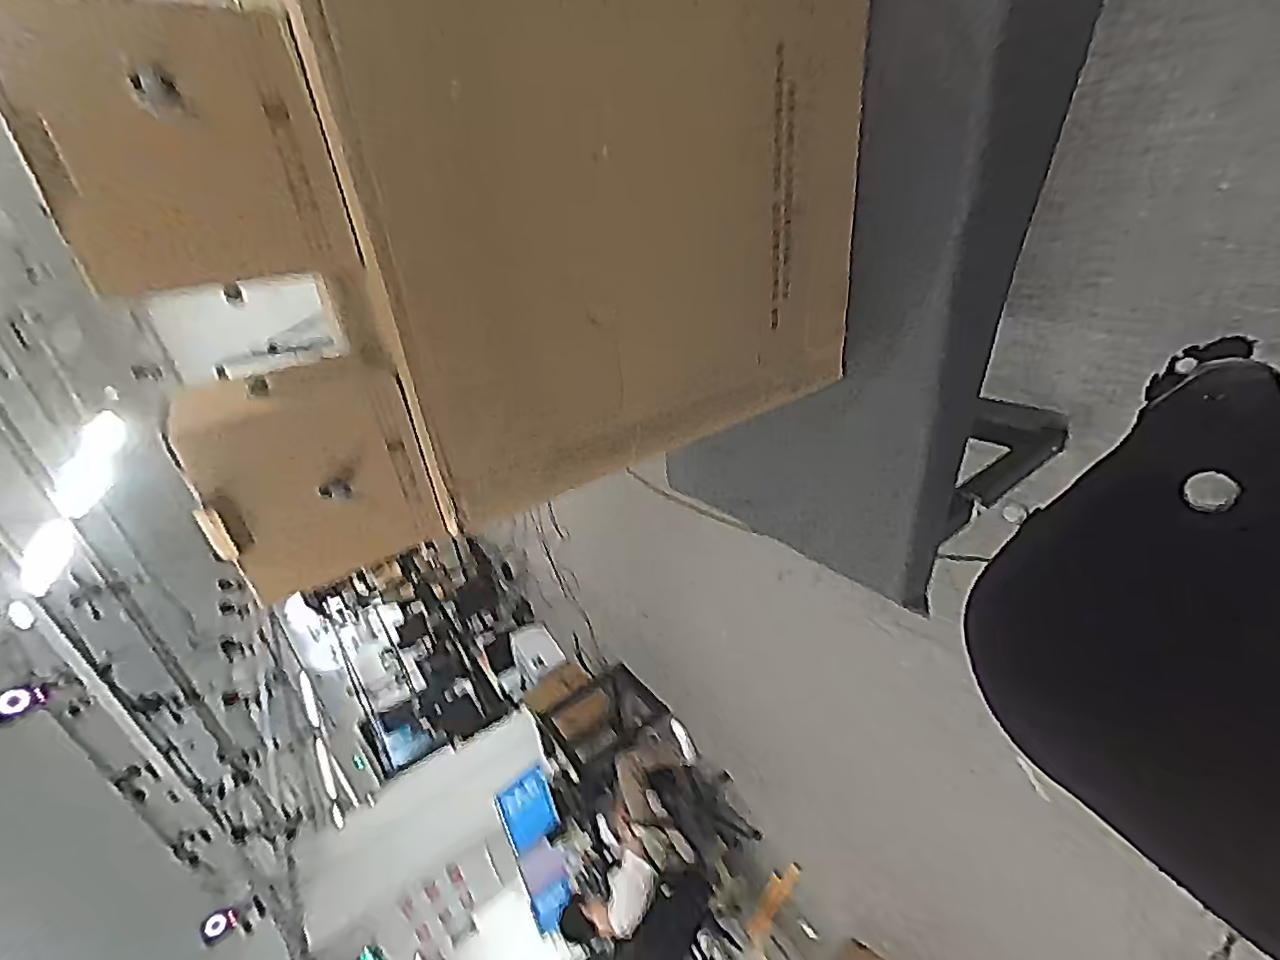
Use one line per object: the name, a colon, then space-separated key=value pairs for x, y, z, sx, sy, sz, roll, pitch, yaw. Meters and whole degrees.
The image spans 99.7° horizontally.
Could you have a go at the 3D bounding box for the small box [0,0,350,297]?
small box: x=-0.347 y=-0.245 z=0.418 sx=0.179 sy=0.176 sz=0.168 roll=27 pitch=130 yaw=47

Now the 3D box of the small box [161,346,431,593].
small box: x=-0.326 y=-0.026 z=0.534 sx=0.179 sy=0.176 sz=0.168 roll=26 pitch=131 yaw=45
